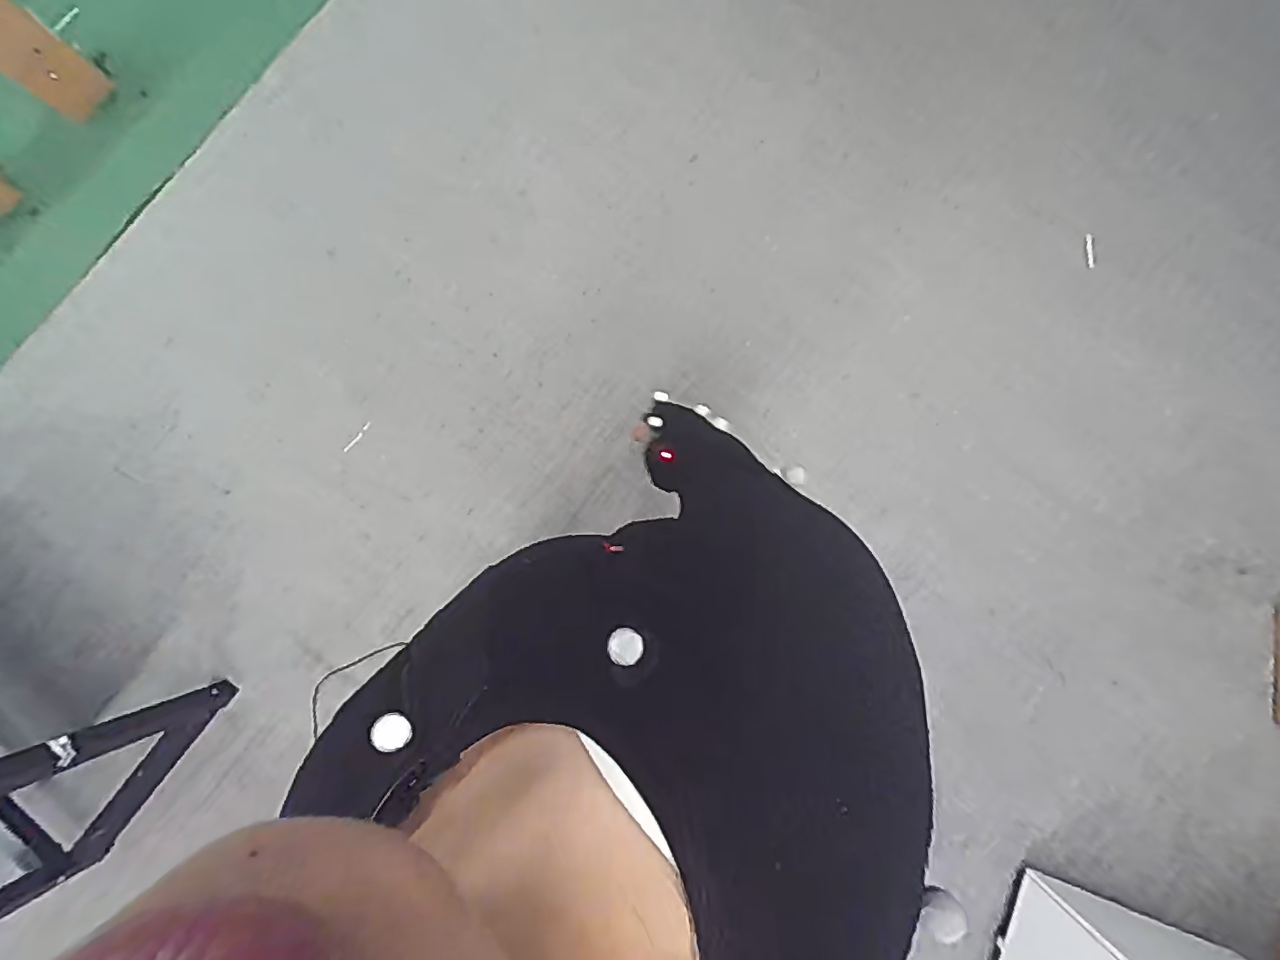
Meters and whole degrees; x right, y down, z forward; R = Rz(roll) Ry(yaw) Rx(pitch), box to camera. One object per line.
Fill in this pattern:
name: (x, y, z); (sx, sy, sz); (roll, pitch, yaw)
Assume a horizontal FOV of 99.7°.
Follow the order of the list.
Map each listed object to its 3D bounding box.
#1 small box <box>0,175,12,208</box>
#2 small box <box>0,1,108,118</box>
small box: (-2.022, -0.888, 1.579); (0.168, 0.176, 0.179); (45, 88, 5)
small box: (-1.751, -1.237, 1.603); (0.168, 0.176, 0.179); (43, 88, 5)
